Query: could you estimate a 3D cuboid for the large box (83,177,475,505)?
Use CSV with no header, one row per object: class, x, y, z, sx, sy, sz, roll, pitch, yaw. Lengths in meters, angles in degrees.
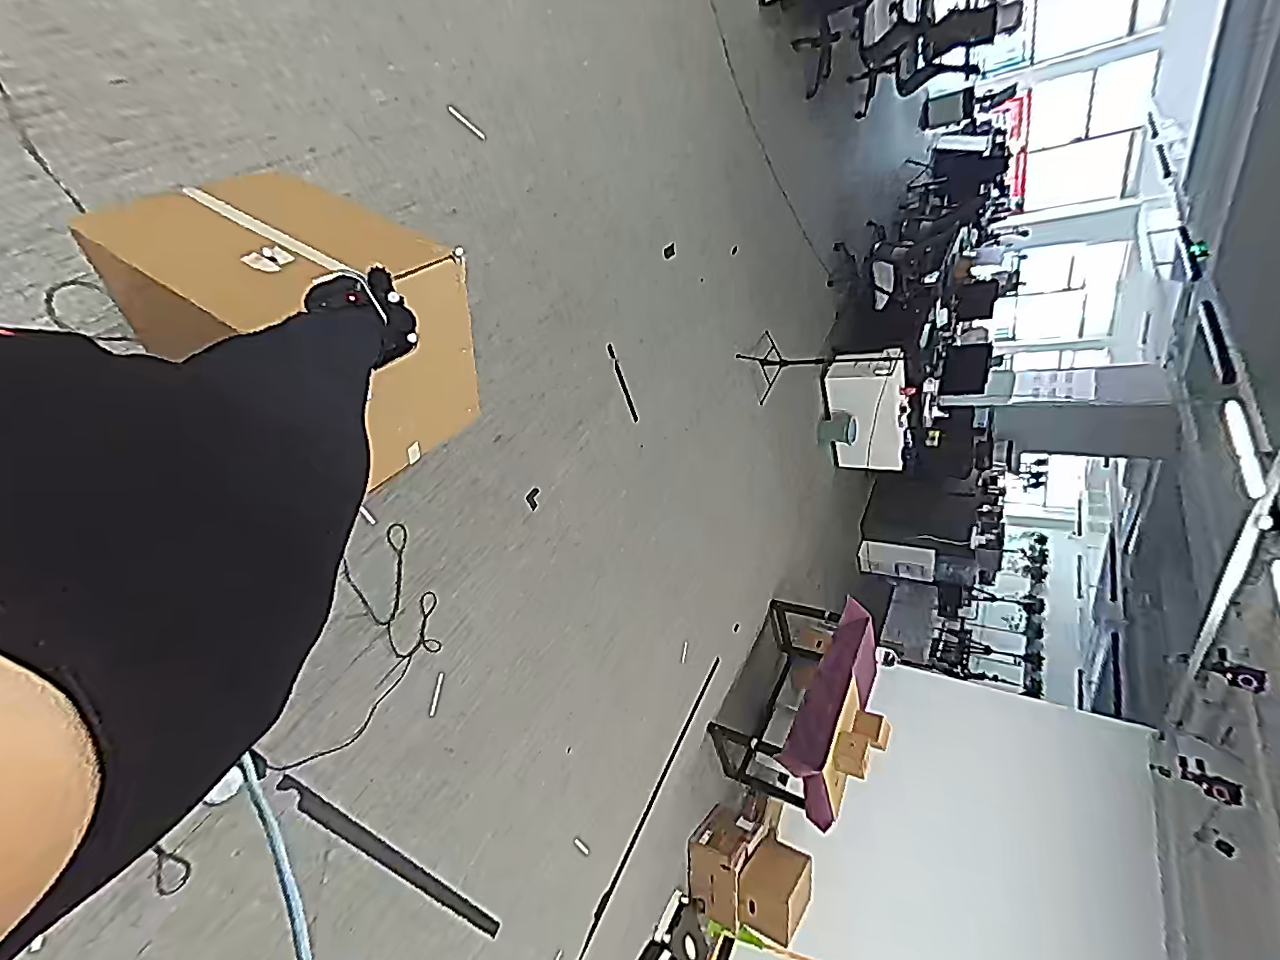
large box,-0.529,-0.233,0.876,0.320,0.408,0.320,-47,160,-38
